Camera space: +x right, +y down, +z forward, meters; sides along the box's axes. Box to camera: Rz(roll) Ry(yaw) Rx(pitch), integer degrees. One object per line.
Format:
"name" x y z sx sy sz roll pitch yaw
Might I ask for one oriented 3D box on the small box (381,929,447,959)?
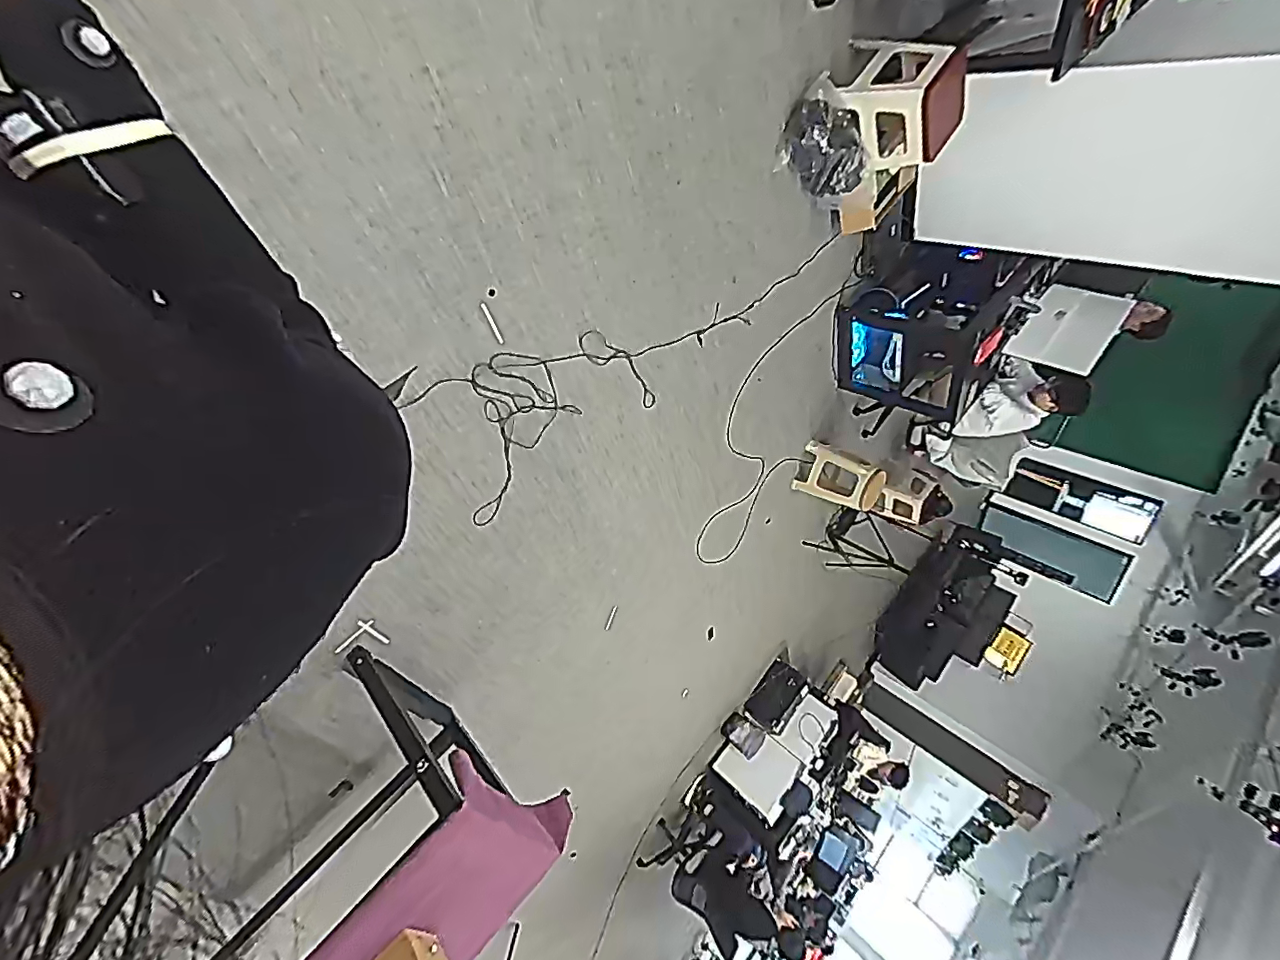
"small box" -0.547 1.217 1.268 0.179 0.176 0.168 -41 139 -24
